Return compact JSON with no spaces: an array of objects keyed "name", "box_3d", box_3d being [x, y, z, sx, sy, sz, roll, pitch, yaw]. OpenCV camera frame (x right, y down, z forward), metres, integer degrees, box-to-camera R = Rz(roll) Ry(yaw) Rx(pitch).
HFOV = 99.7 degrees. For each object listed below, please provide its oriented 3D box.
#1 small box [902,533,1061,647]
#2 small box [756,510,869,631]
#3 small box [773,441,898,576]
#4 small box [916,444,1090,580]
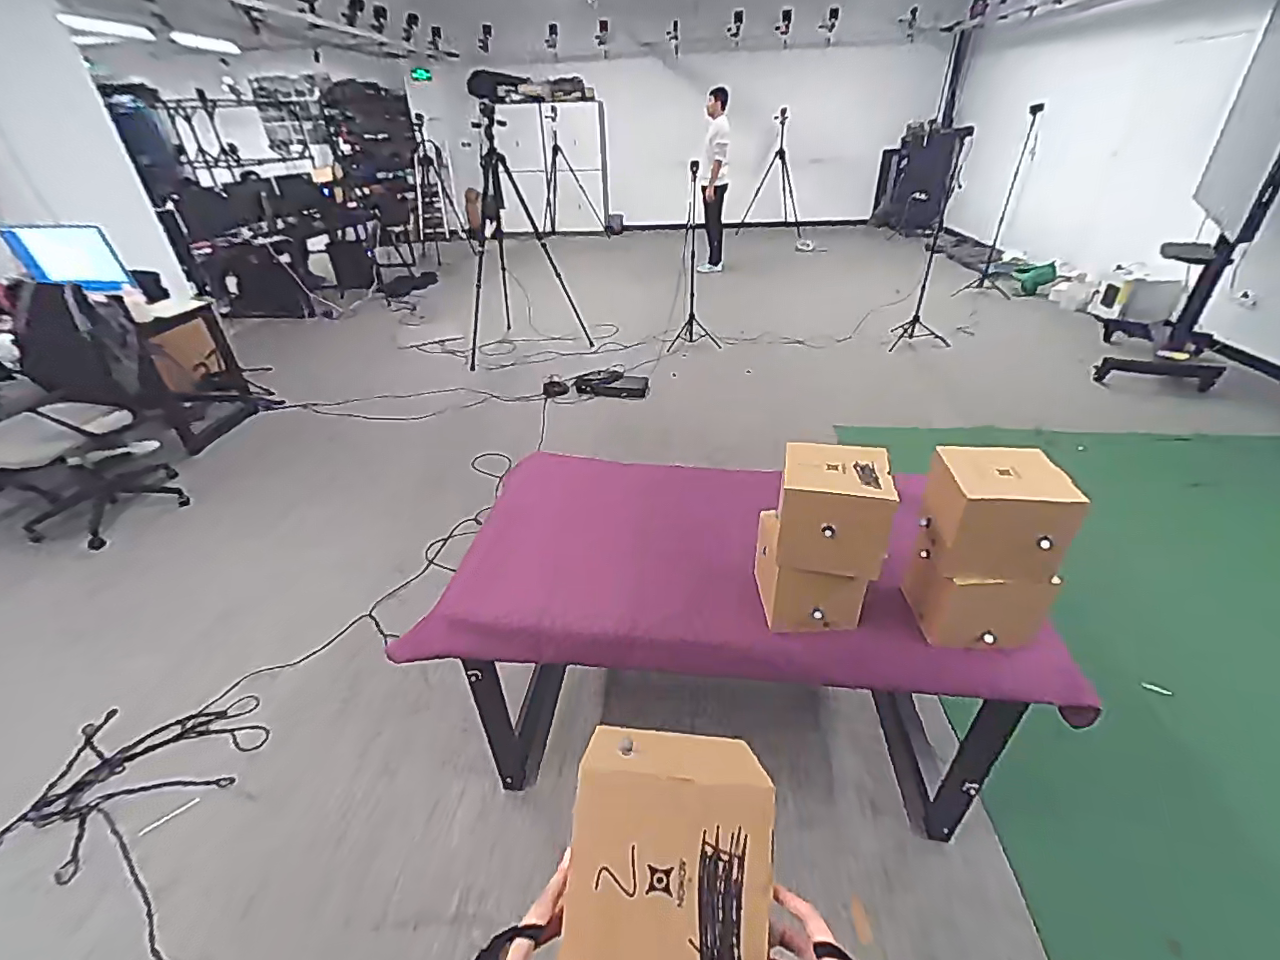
[{"name":"small box","box_3d":[0.621,0.195,1.009,0.179,0.176,0.168,-1,33,4]},{"name":"small box","box_3d":[0.328,0.174,1.063,0.168,0.176,0.179,-2,33,2]},{"name":"small box","box_3d":[0.335,0.049,0.953,0.179,0.176,0.168,6,33,14]},{"name":"small box","box_3d":[0.603,0.054,0.927,0.179,0.176,0.168,2,34,9]}]
